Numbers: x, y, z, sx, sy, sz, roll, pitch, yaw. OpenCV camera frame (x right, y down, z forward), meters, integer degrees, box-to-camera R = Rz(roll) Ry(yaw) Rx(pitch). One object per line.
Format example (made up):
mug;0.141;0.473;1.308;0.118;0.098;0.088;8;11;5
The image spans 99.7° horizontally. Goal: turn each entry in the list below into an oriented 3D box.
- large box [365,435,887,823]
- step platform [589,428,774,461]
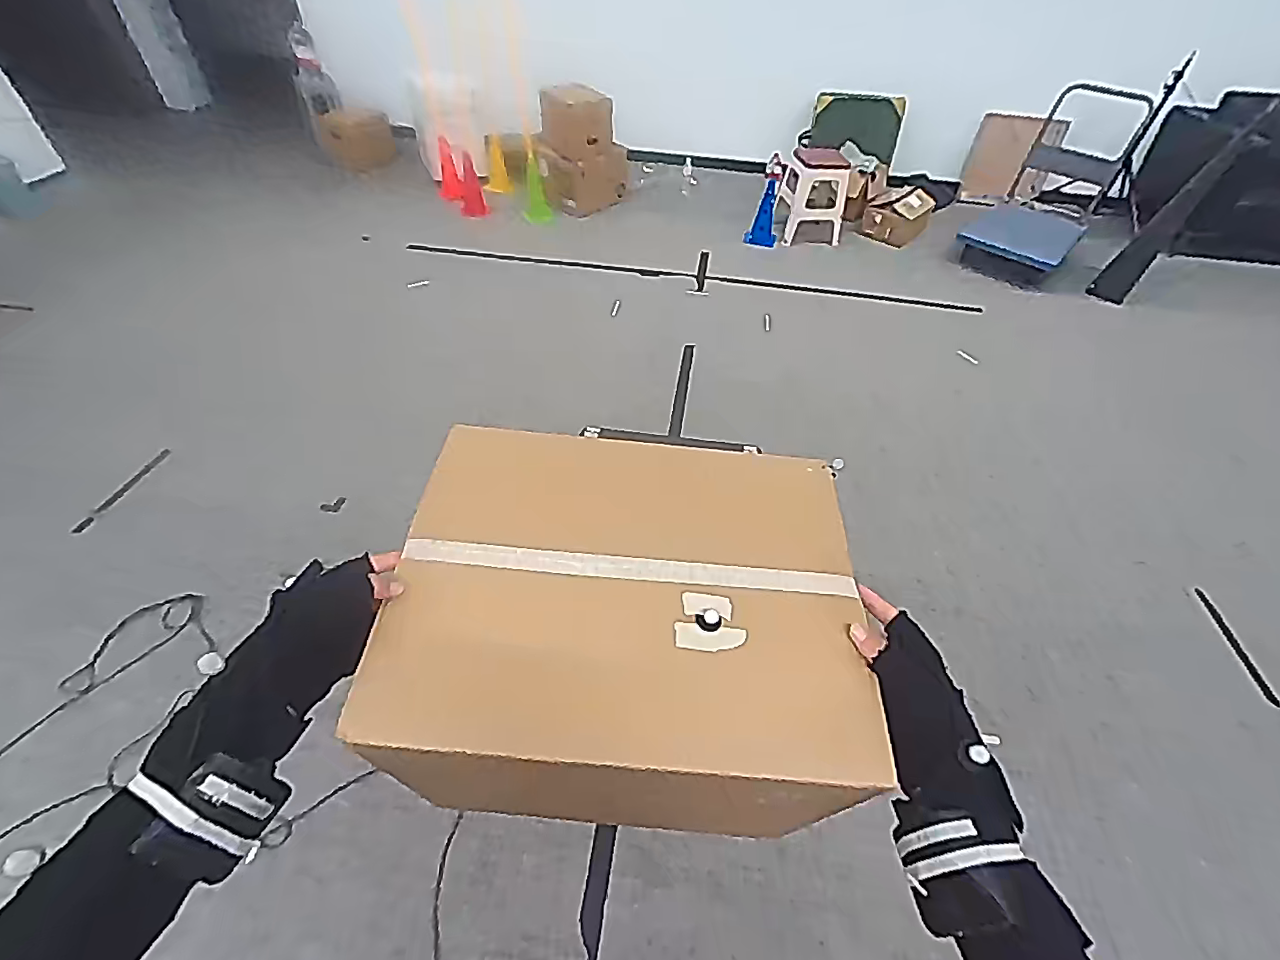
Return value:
large box;-0.013;0.177;0.611;0.408;0.320;0.320;6;52;-1
step platform;0.135;0.000;1.916;0.684;0.204;0.286;7;47;1
